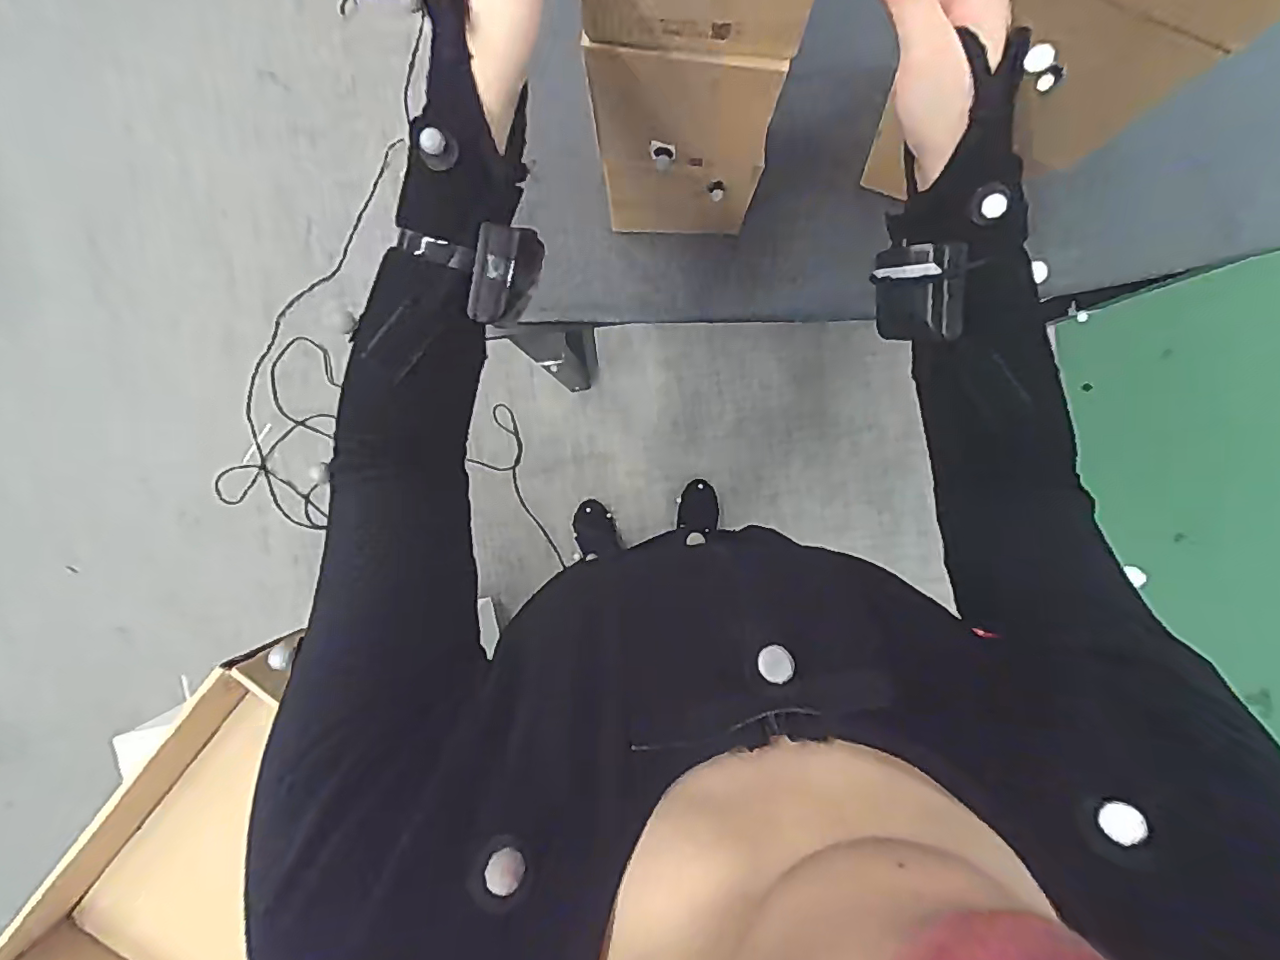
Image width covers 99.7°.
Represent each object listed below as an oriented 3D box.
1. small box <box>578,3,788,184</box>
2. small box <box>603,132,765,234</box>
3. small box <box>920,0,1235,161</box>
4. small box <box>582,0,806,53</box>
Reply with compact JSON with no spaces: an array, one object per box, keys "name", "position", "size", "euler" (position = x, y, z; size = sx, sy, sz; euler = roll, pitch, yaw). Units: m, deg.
[{"name":"small box","position":[0.045,-0.412,0.499],"size":[0.168,0.176,0.179],"euler":[7,92,2]},{"name":"small box","position":[0.050,-0.419,0.662],"size":[0.179,0.176,0.168],"euler":[2,91,1]},{"name":"small box","position":[0.401,-0.430,0.488],"size":[0.179,0.176,0.168],"euler":[25,91,1]},{"name":"small box","position":[0.041,-0.414,0.336],"size":[0.168,0.176,0.179],"euler":[6,92,2]}]
